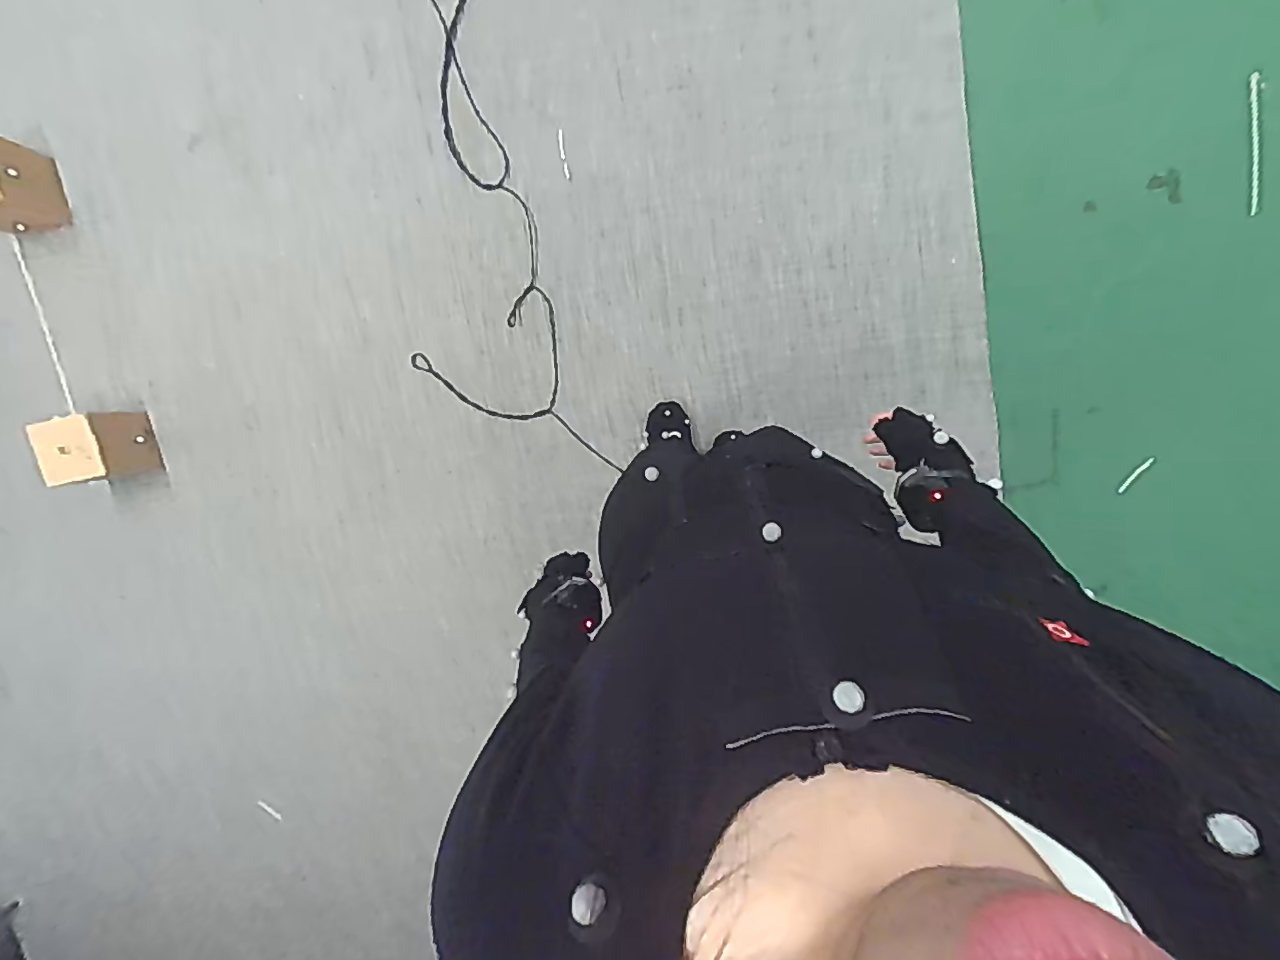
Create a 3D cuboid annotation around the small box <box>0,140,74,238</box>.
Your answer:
[{"bbox_3d":[-1.616,-0.739,1.367,0.168,0.176,0.179,-11,99,4],"label":"small box"}]

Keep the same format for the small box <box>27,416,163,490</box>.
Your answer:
[{"bbox_3d":[-1.462,-0.077,1.462,0.179,0.176,0.168,-11,98,4],"label":"small box"}]
